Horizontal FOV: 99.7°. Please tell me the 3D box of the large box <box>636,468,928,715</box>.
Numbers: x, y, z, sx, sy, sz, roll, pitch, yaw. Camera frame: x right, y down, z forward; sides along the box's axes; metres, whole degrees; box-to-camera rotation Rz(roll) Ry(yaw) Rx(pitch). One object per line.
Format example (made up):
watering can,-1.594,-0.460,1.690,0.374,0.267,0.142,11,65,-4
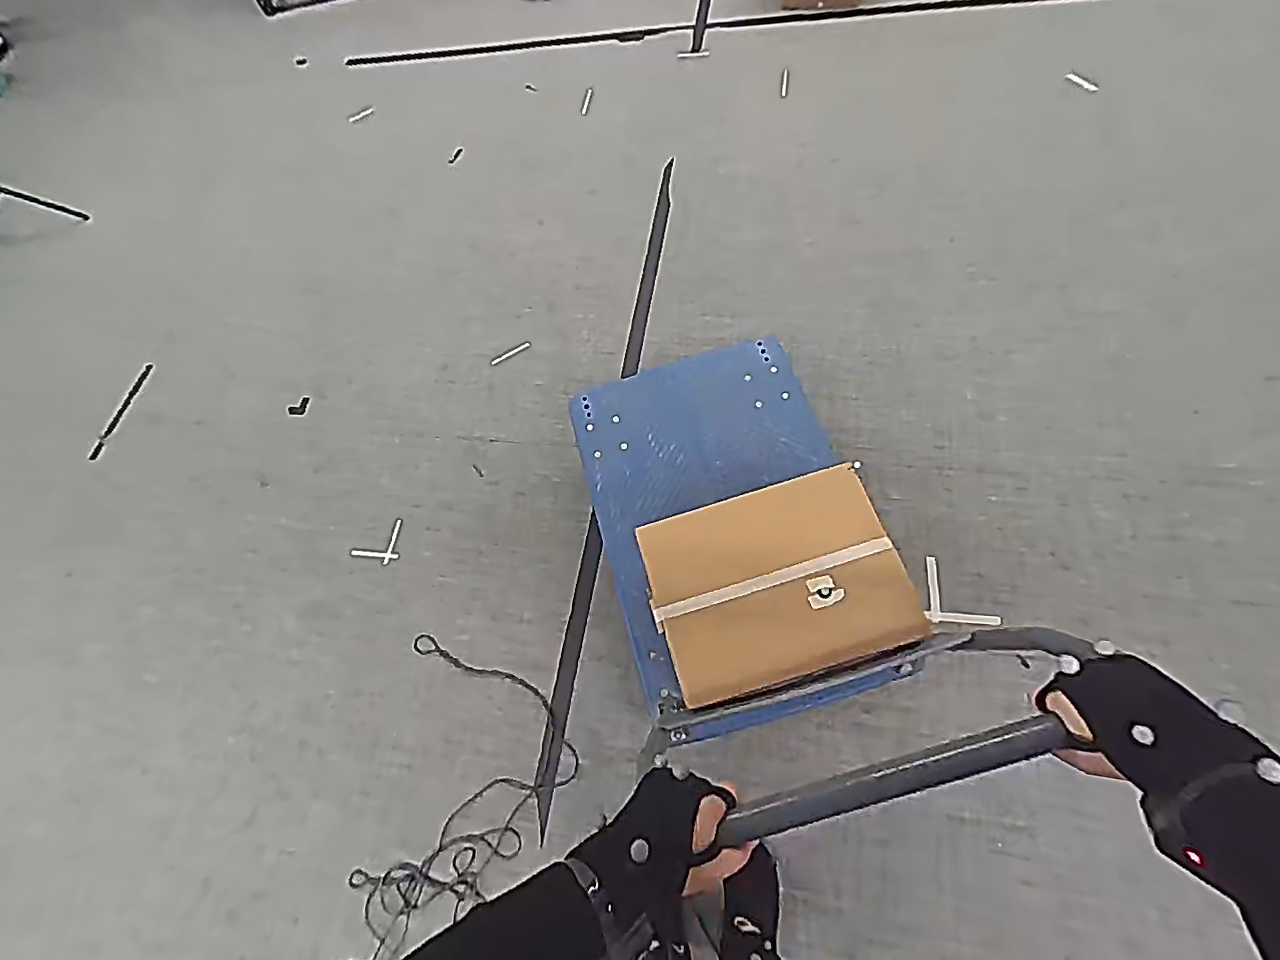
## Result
large box,0.238,0.227,1.034,0.408,0.320,0.320,-17,68,0
